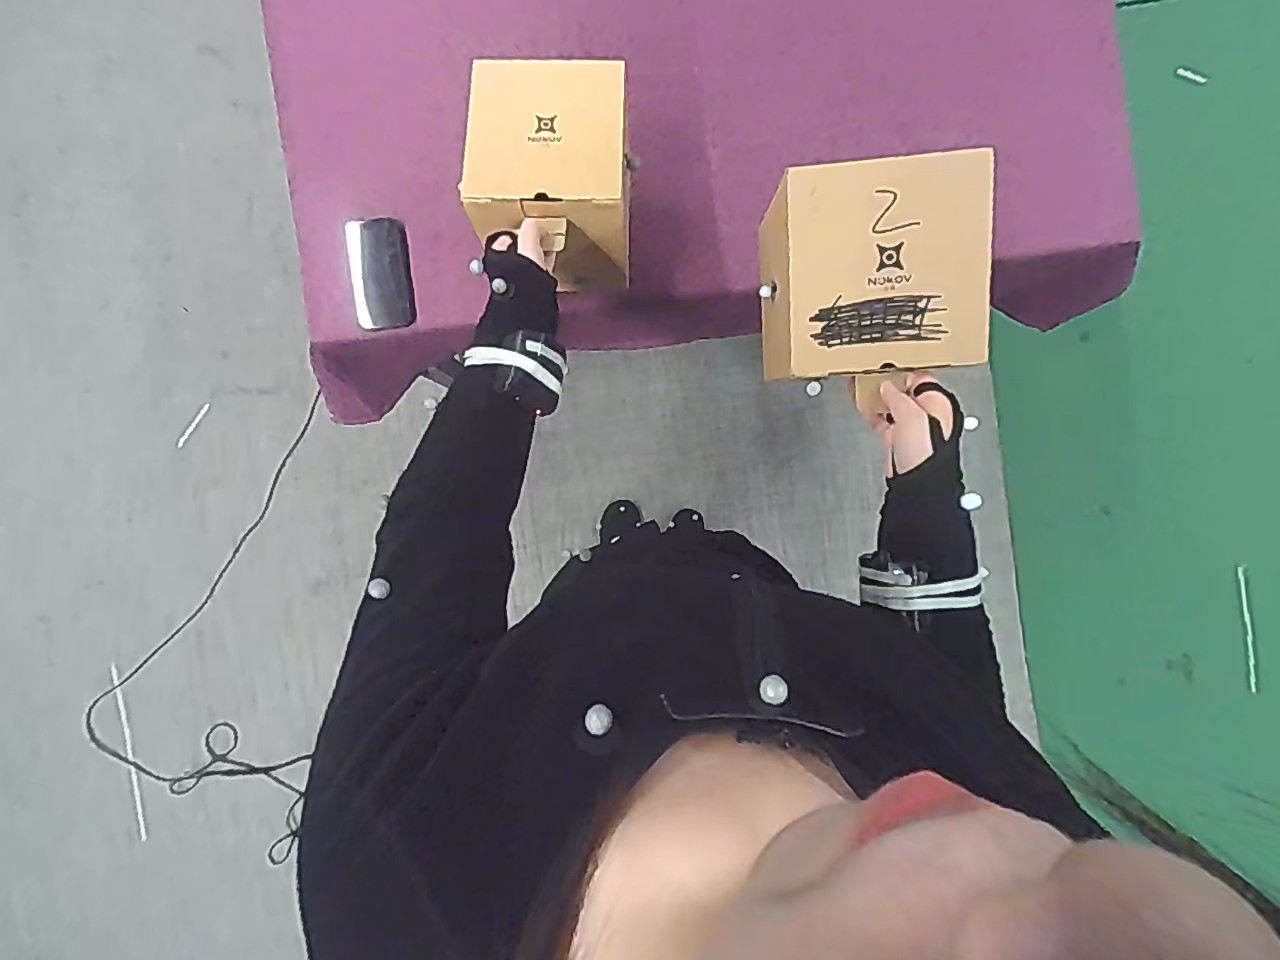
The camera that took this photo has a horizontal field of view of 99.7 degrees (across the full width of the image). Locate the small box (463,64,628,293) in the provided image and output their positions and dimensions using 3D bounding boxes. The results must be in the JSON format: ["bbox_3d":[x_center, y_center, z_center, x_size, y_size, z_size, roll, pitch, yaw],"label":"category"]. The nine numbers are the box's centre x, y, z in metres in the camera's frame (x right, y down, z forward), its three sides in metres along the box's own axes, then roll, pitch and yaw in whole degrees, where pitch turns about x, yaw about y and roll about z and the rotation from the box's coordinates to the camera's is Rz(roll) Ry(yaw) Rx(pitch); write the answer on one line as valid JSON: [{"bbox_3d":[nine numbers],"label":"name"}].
[{"bbox_3d":[-0.100,-0.351,0.652,0.168,0.176,0.179,1,78,0],"label":"small box"}]
